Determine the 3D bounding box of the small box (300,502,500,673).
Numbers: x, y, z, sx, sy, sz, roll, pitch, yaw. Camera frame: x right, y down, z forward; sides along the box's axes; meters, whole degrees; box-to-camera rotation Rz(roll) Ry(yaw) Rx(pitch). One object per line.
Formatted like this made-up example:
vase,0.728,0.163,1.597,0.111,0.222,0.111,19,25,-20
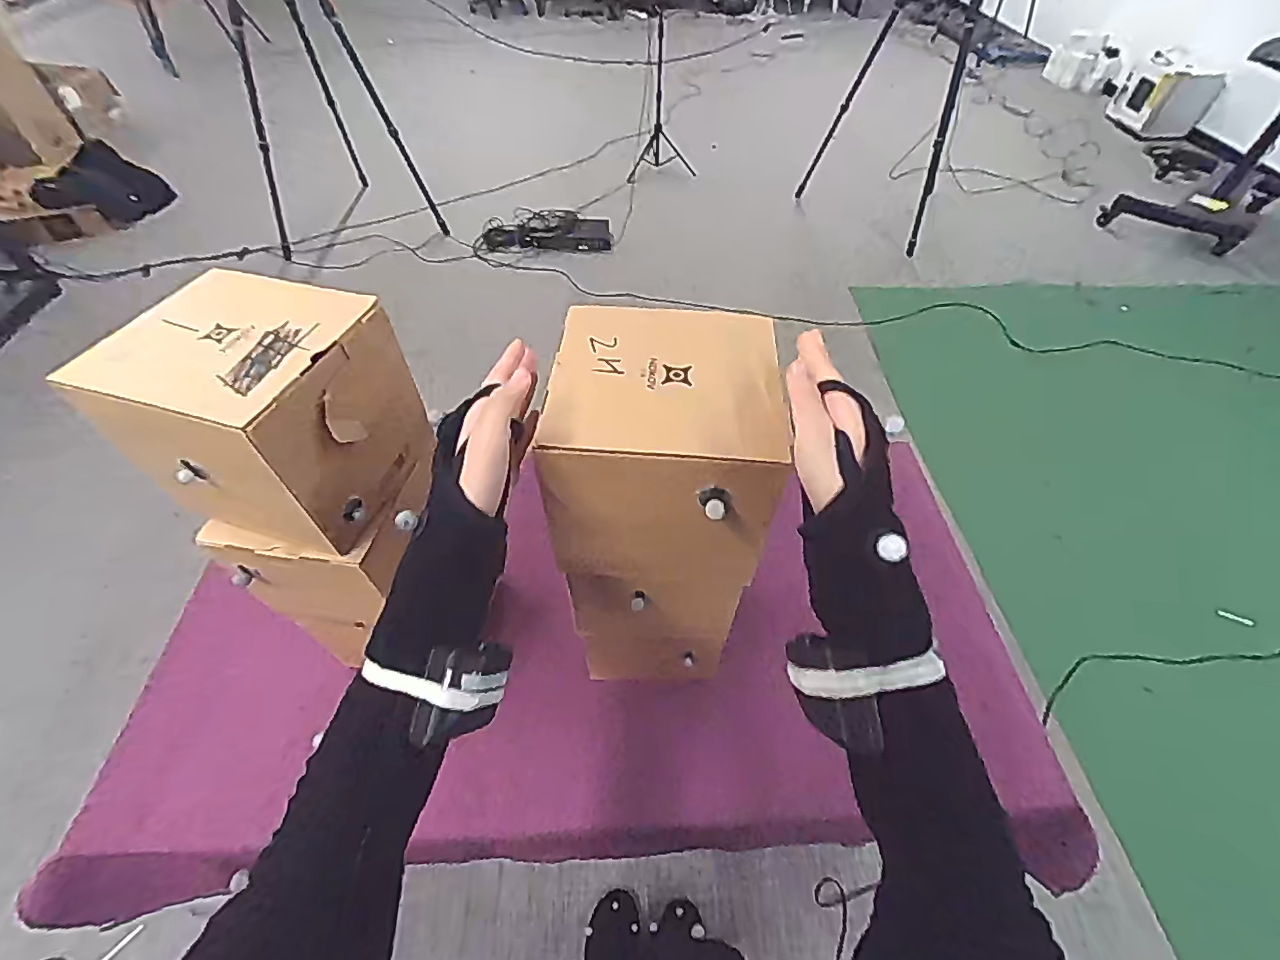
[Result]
small box,-0.314,0.153,0.754,0.179,0.176,0.168,8,51,5

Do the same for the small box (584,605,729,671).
small box,0.019,0.157,0.754,0.179,0.176,0.168,0,50,0

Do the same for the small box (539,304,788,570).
small box,0.021,-0.034,0.484,0.179,0.176,0.168,4,50,3

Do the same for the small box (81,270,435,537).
small box,-0.324,-0.067,0.508,0.179,0.176,0.168,13,51,10

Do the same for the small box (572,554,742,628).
small box,0.018,0.059,0.622,0.179,0.176,0.168,1,51,1
